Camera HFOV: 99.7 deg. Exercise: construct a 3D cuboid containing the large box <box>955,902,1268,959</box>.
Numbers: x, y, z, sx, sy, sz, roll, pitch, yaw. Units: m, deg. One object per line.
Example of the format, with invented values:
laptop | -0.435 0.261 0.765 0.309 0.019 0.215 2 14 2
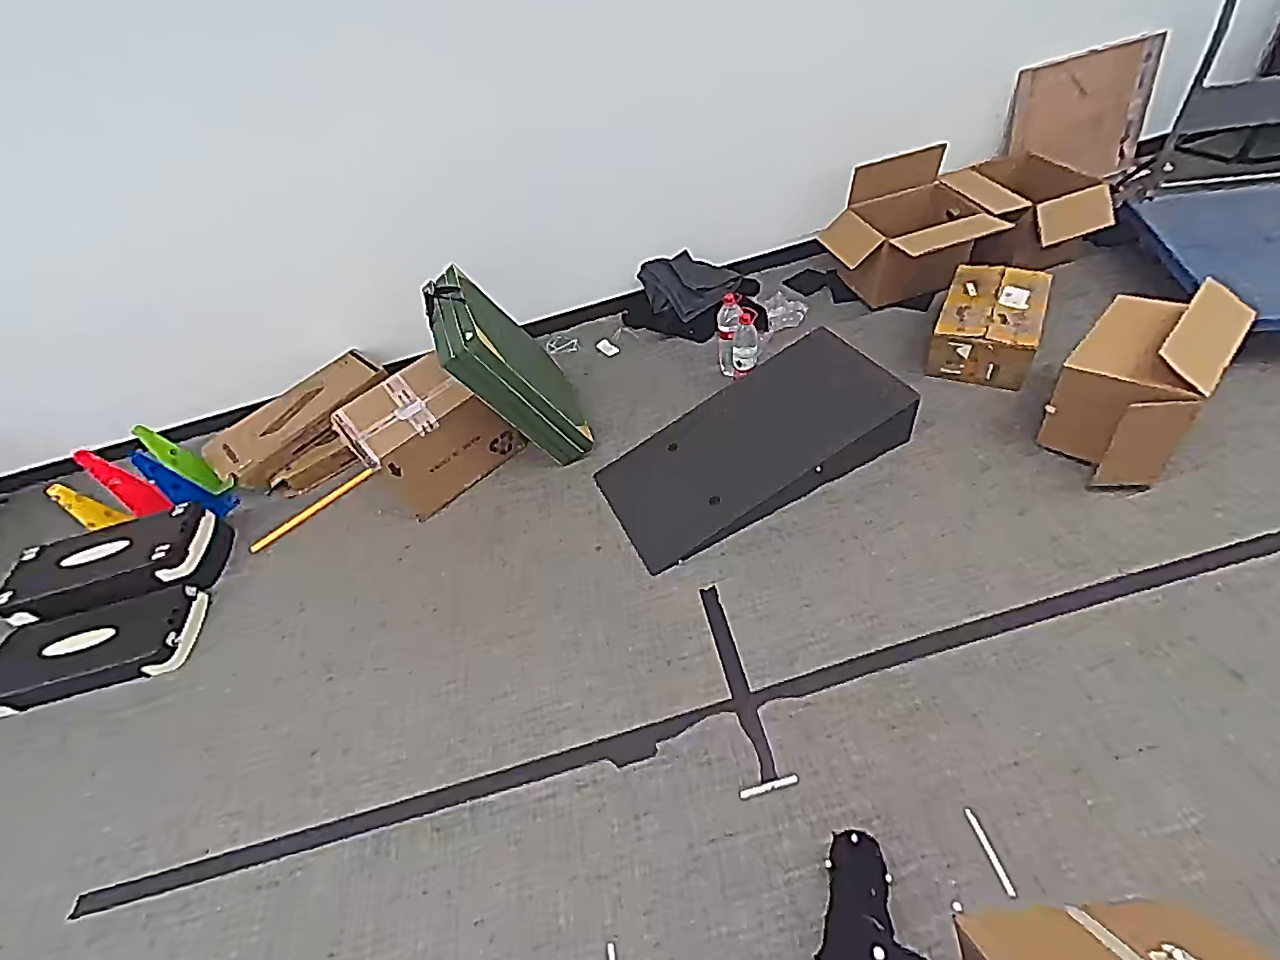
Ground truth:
large box | 0.602 0.714 0.544 0.320 0.408 0.320 -6 76 5
